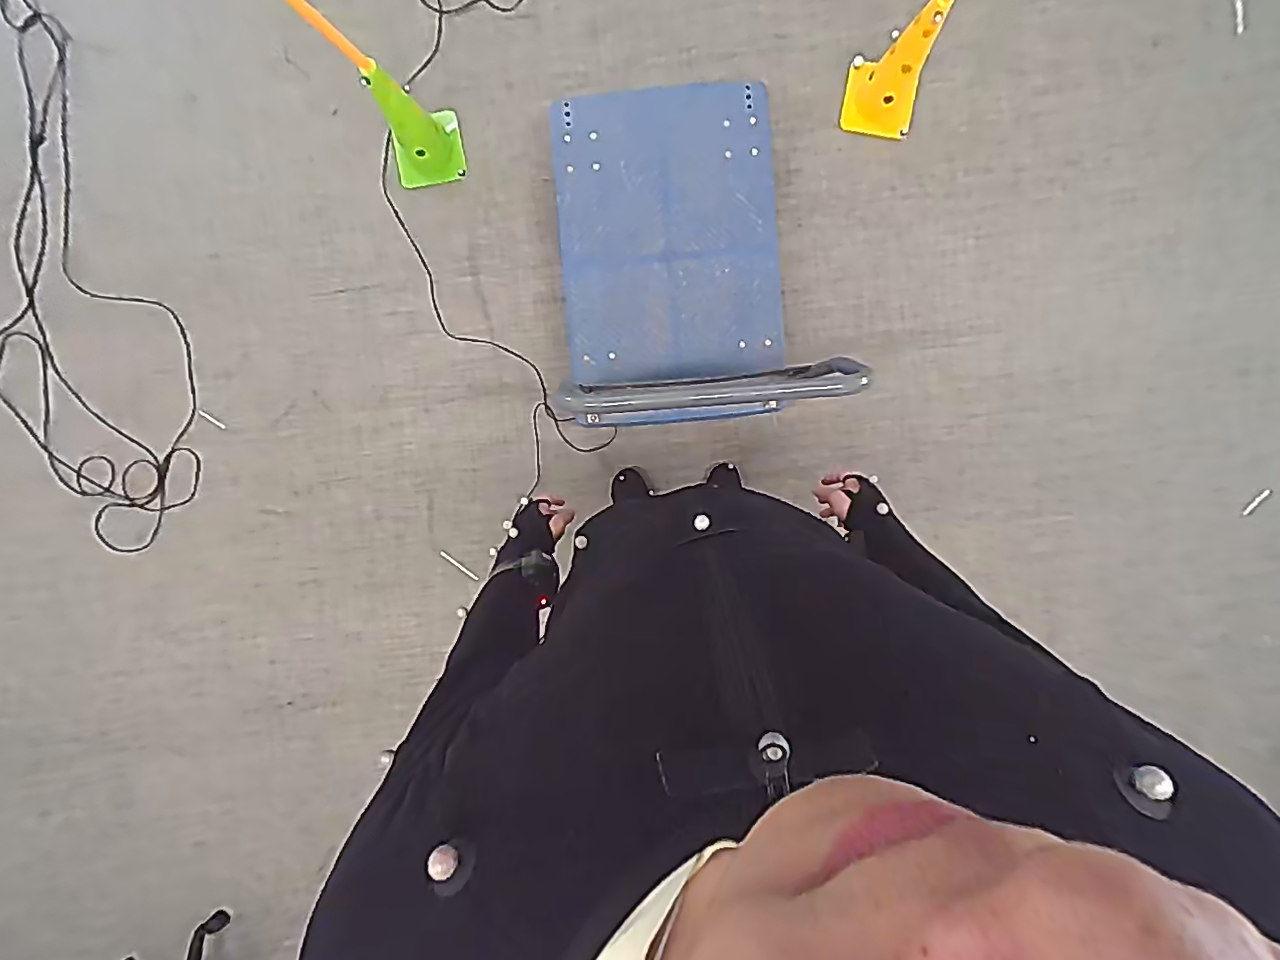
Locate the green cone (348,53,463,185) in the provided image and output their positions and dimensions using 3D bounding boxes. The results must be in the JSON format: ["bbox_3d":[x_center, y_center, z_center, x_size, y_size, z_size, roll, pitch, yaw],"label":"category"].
[{"bbox_3d":[-0.637,-0.974,1.416,0.202,0.368,0.200,-11,92,3],"label":"green cone"}]
